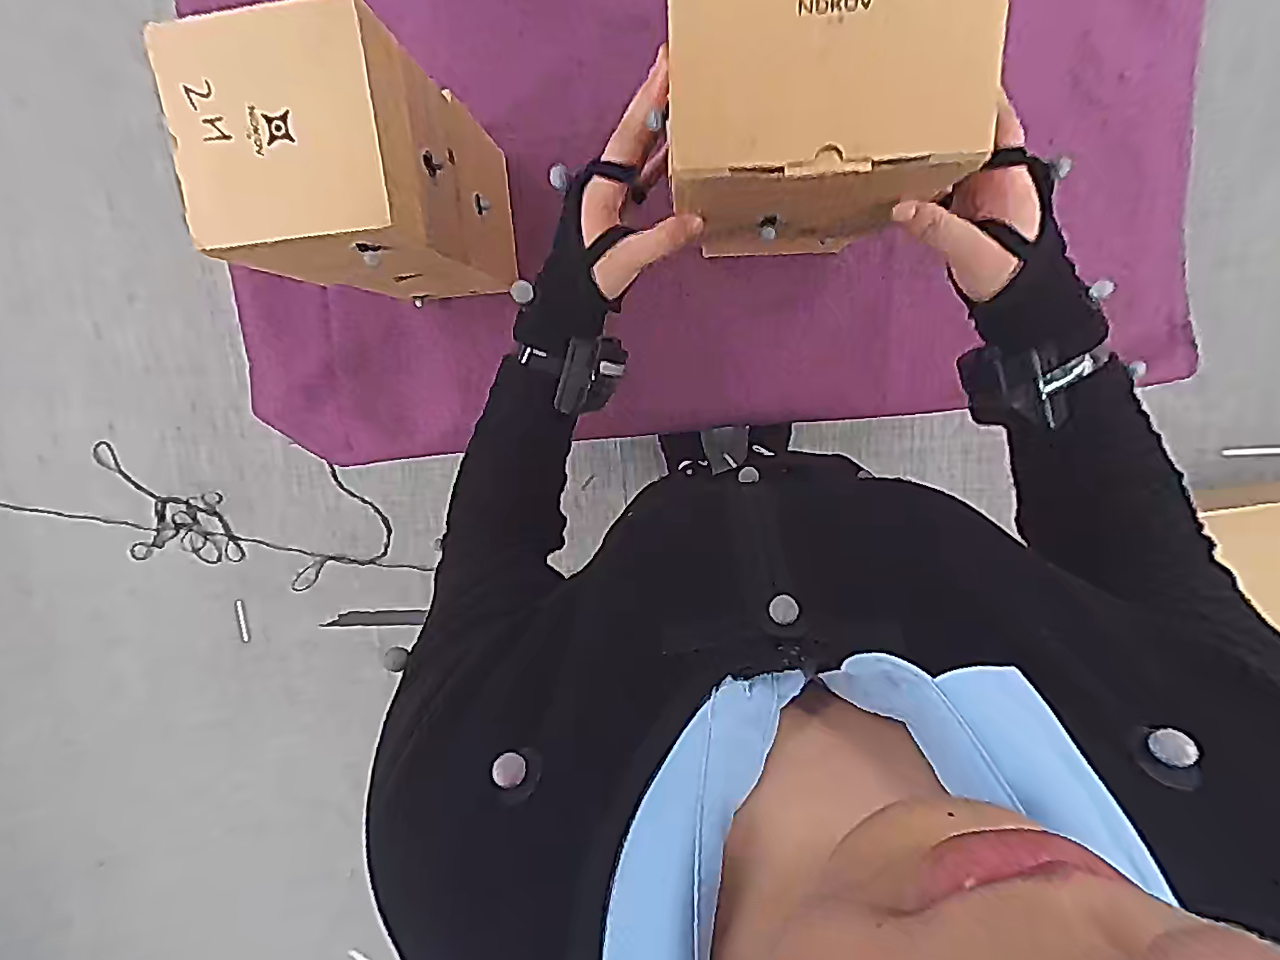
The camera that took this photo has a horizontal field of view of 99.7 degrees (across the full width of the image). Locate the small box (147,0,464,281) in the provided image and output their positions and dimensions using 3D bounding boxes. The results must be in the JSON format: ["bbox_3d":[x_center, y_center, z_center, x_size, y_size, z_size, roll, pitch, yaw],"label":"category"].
[{"bbox_3d":[-0.276,-0.288,0.495,0.179,0.176,0.168,-4,100,6],"label":"small box"}]

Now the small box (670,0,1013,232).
[{"bbox_3d":[0.102,-0.270,0.339,0.168,0.176,0.179,-1,103,5],"label":"small box"}]

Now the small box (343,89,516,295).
[{"bbox_3d":[-0.259,-0.327,0.655,0.168,0.176,0.179,-3,100,6],"label":"small box"}]
